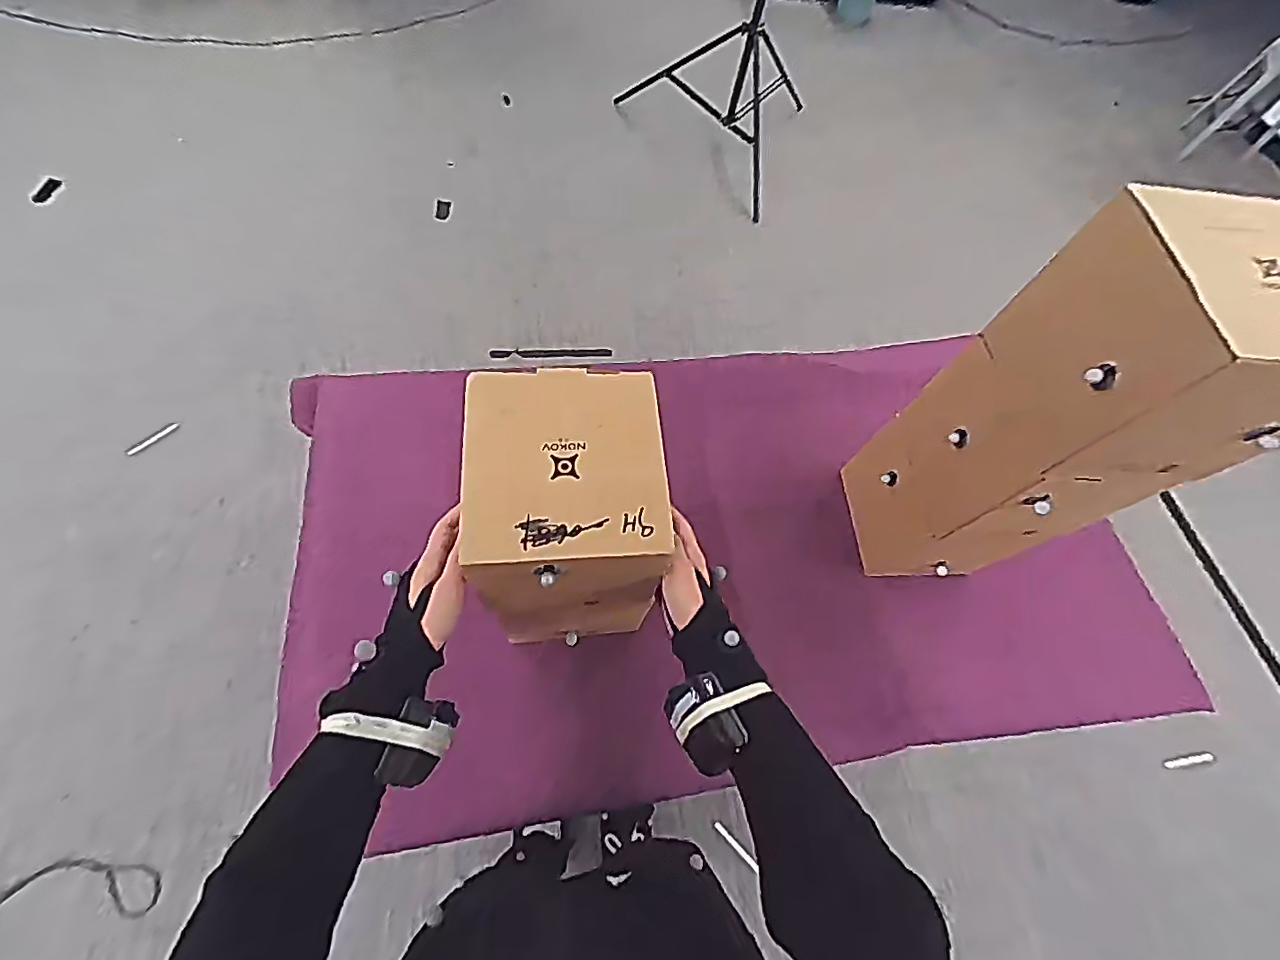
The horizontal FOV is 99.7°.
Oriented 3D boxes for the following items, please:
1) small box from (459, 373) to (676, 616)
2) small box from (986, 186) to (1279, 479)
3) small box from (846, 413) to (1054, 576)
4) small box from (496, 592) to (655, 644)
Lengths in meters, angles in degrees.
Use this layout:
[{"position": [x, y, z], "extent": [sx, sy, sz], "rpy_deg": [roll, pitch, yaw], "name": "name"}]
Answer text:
[{"position": [-0.069, 0.019, 0.513], "extent": [0.168, 0.176, 0.179], "rpy_deg": [-2, 64, -8], "name": "small box"}, {"position": [0.445, -0.112, 0.461], "extent": [0.168, 0.176, 0.179], "rpy_deg": [2, 63, -7], "name": "small box"}, {"position": [0.411, 0.025, 0.756], "extent": [0.168, 0.176, 0.179], "rpy_deg": [0, 64, -7], "name": "small box"}, {"position": [-0.083, 0.091, 0.660], "extent": [0.168, 0.176, 0.179], "rpy_deg": [-4, 65, -9], "name": "small box"}]
